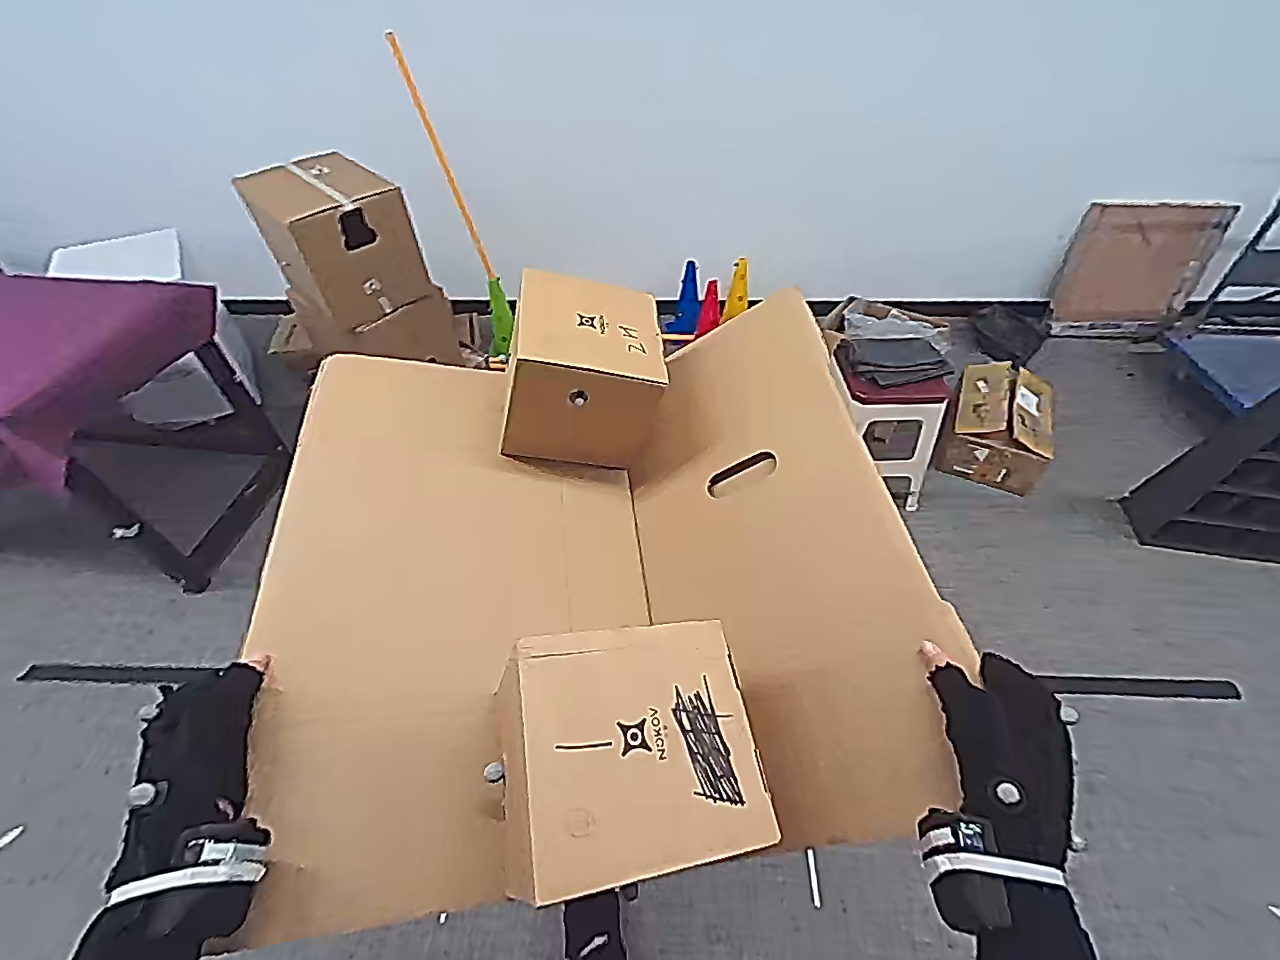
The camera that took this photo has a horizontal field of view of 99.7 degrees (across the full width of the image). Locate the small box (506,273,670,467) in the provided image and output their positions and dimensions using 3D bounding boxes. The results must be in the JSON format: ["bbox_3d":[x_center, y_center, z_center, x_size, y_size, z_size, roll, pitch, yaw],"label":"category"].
[{"bbox_3d":[-0.075,-0.134,0.707,0.179,0.176,0.168,8,53,-17],"label":"small box"}]
